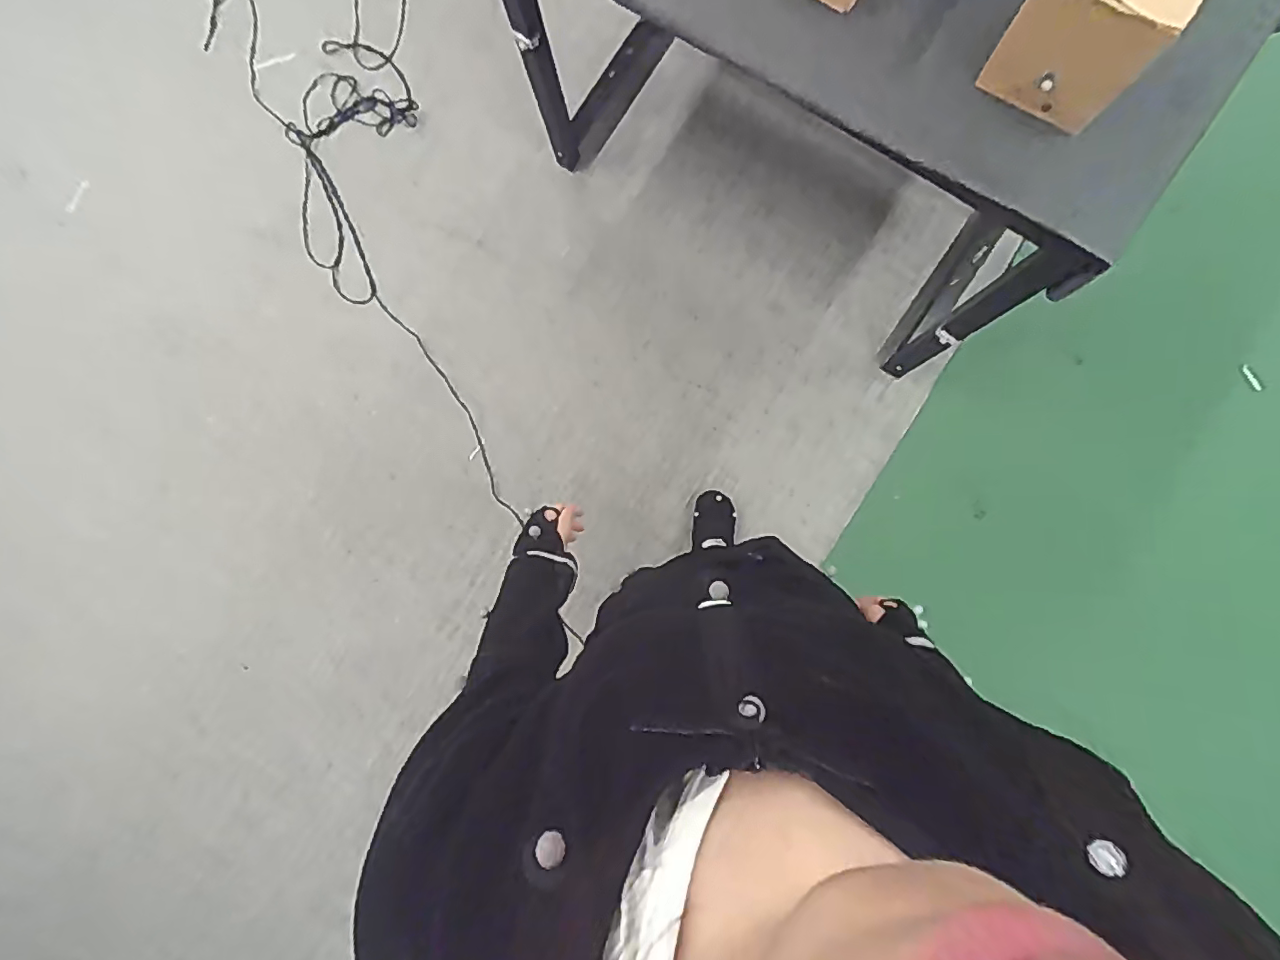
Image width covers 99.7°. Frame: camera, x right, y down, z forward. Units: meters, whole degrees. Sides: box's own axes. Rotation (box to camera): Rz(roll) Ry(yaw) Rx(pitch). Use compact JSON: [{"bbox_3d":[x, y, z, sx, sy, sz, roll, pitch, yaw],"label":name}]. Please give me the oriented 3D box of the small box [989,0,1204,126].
[{"bbox_3d":[0.605,-0.622,0.705,0.168,0.176,0.179,32,89,7],"label":"small box"}]
